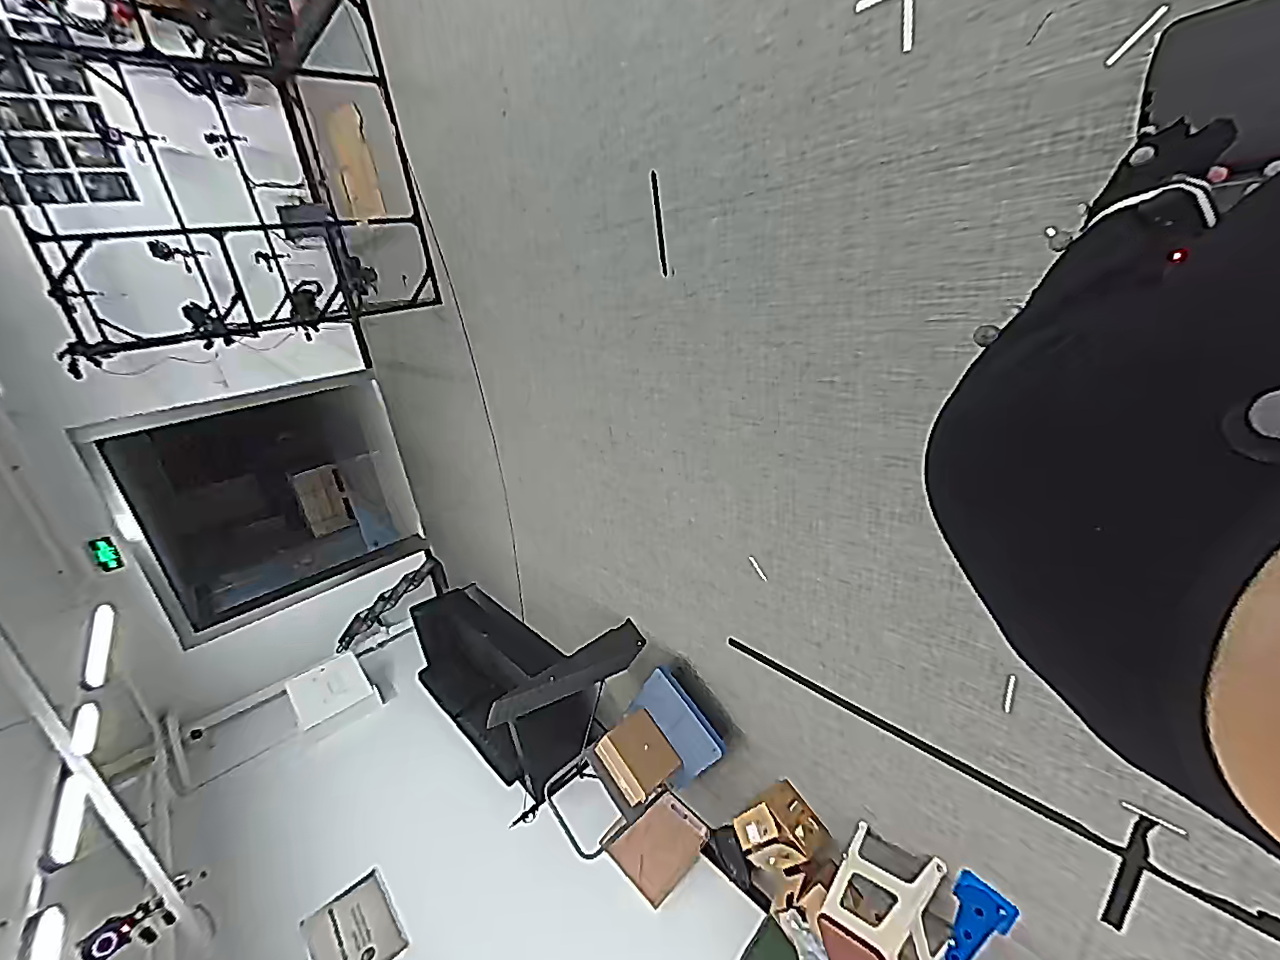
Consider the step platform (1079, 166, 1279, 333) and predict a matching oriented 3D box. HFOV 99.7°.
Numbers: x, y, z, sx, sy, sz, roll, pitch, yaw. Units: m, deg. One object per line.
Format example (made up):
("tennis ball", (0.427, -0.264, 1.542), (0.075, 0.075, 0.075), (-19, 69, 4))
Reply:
("step platform", (1.216, -0.415, 0.952), (0.684, 0.204, 0.286), (16, 122, 48))
